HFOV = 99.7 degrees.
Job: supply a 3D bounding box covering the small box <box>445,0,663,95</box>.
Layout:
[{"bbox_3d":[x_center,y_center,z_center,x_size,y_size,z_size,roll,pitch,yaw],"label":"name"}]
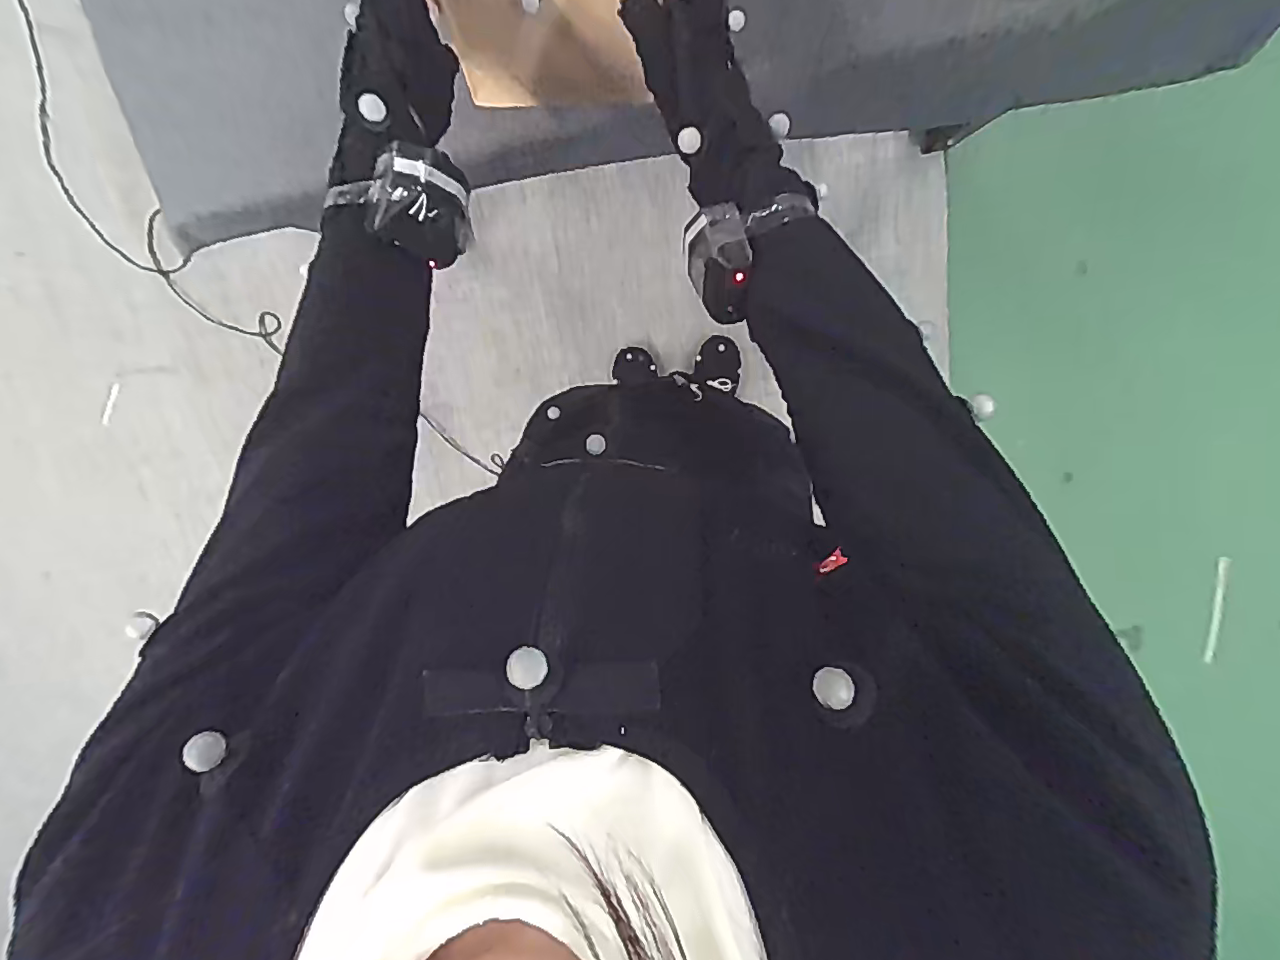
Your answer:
[{"bbox_3d":[-0.071,-0.450,0.438,0.179,0.176,0.168,0,78,2],"label":"small box"}]
